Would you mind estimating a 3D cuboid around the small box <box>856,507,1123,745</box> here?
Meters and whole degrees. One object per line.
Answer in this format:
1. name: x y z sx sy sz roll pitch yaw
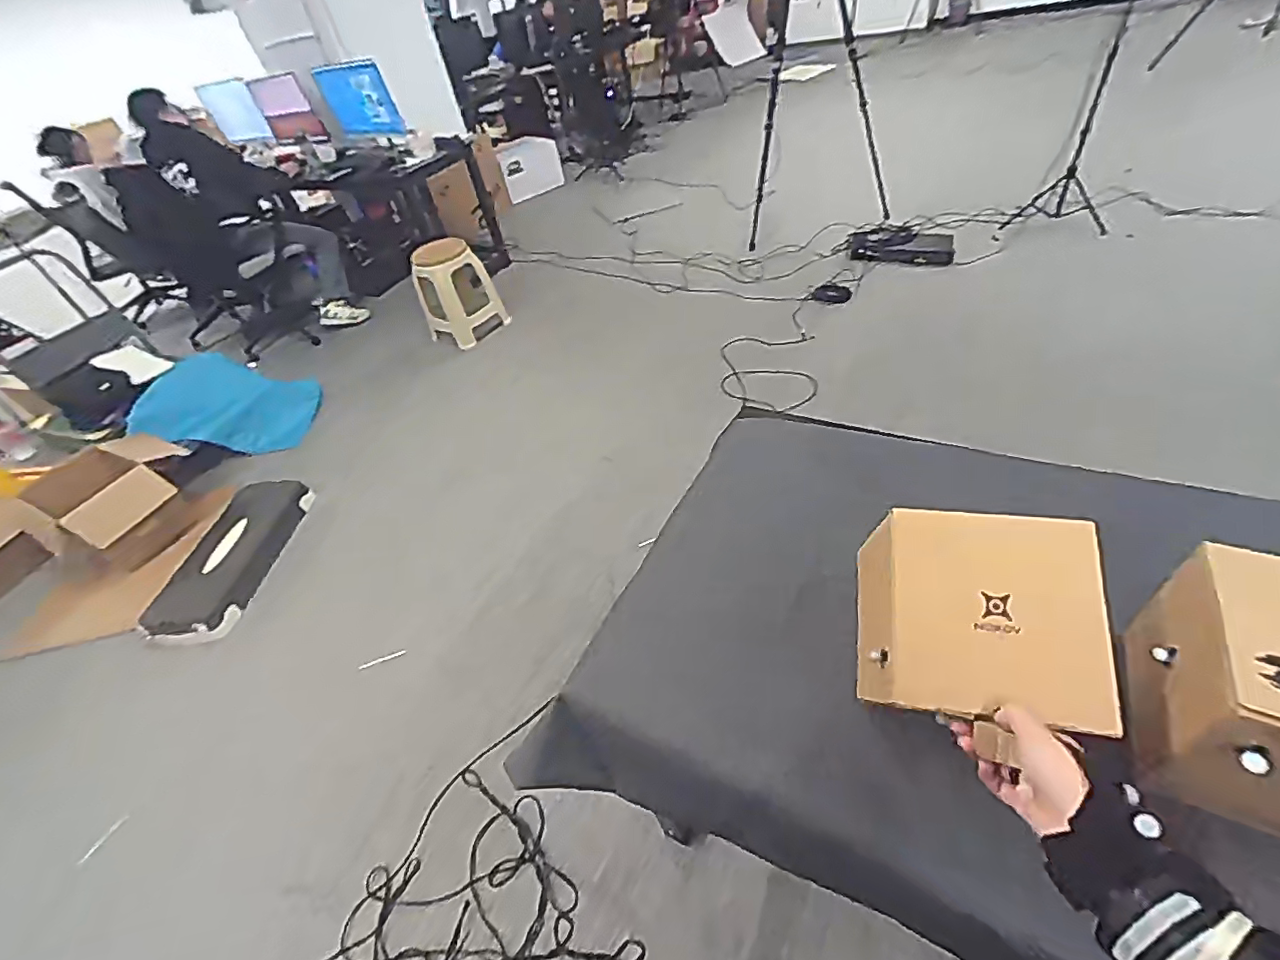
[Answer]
1. small box: 0.313 0.138 0.526 0.168 0.176 0.179 4 73 12
